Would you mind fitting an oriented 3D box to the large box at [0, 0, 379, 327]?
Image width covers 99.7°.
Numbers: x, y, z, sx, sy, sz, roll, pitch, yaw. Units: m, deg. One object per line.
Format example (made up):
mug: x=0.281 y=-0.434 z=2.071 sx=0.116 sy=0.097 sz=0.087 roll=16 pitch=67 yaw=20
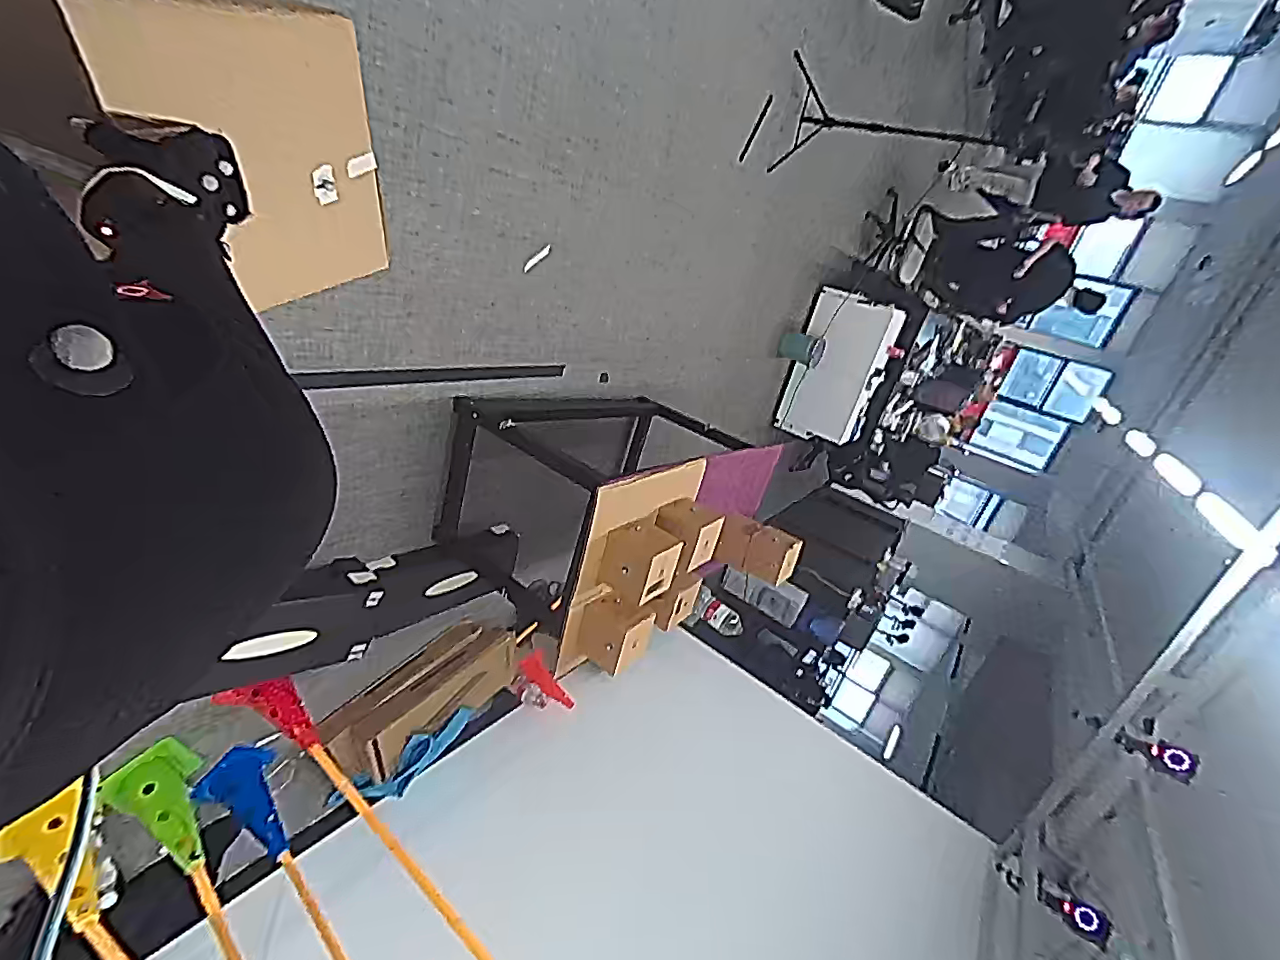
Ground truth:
large box: x=-0.630 y=-0.450 z=0.703 sx=0.320 sy=0.408 sz=0.320 roll=-52 pitch=160 yaw=-46
